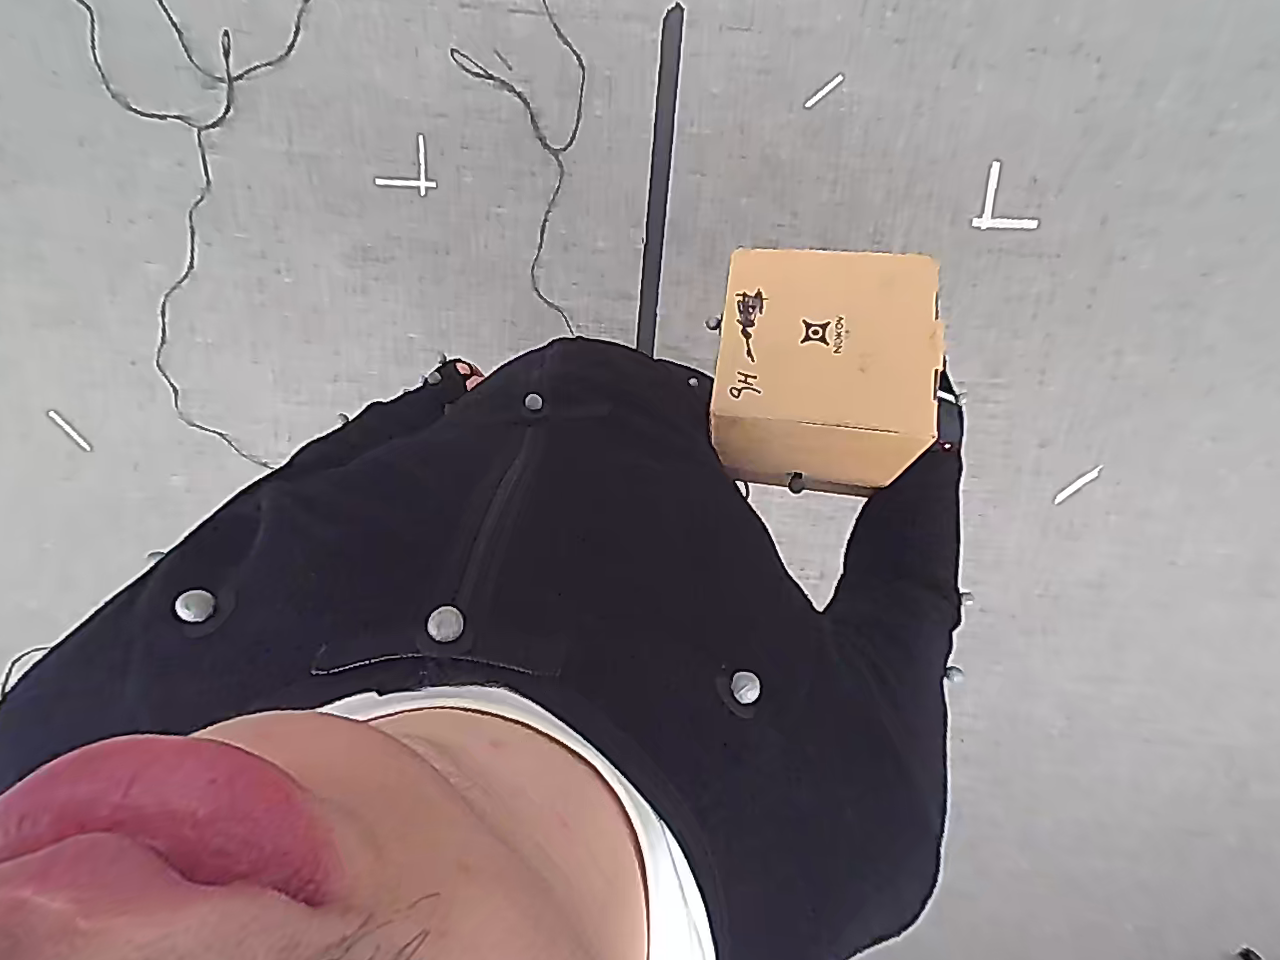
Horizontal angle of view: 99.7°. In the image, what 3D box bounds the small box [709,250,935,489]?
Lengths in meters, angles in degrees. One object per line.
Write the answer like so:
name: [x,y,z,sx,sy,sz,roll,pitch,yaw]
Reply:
small box: [0.167,-0.098,0.538,0.179,0.176,0.168,8,72,9]
